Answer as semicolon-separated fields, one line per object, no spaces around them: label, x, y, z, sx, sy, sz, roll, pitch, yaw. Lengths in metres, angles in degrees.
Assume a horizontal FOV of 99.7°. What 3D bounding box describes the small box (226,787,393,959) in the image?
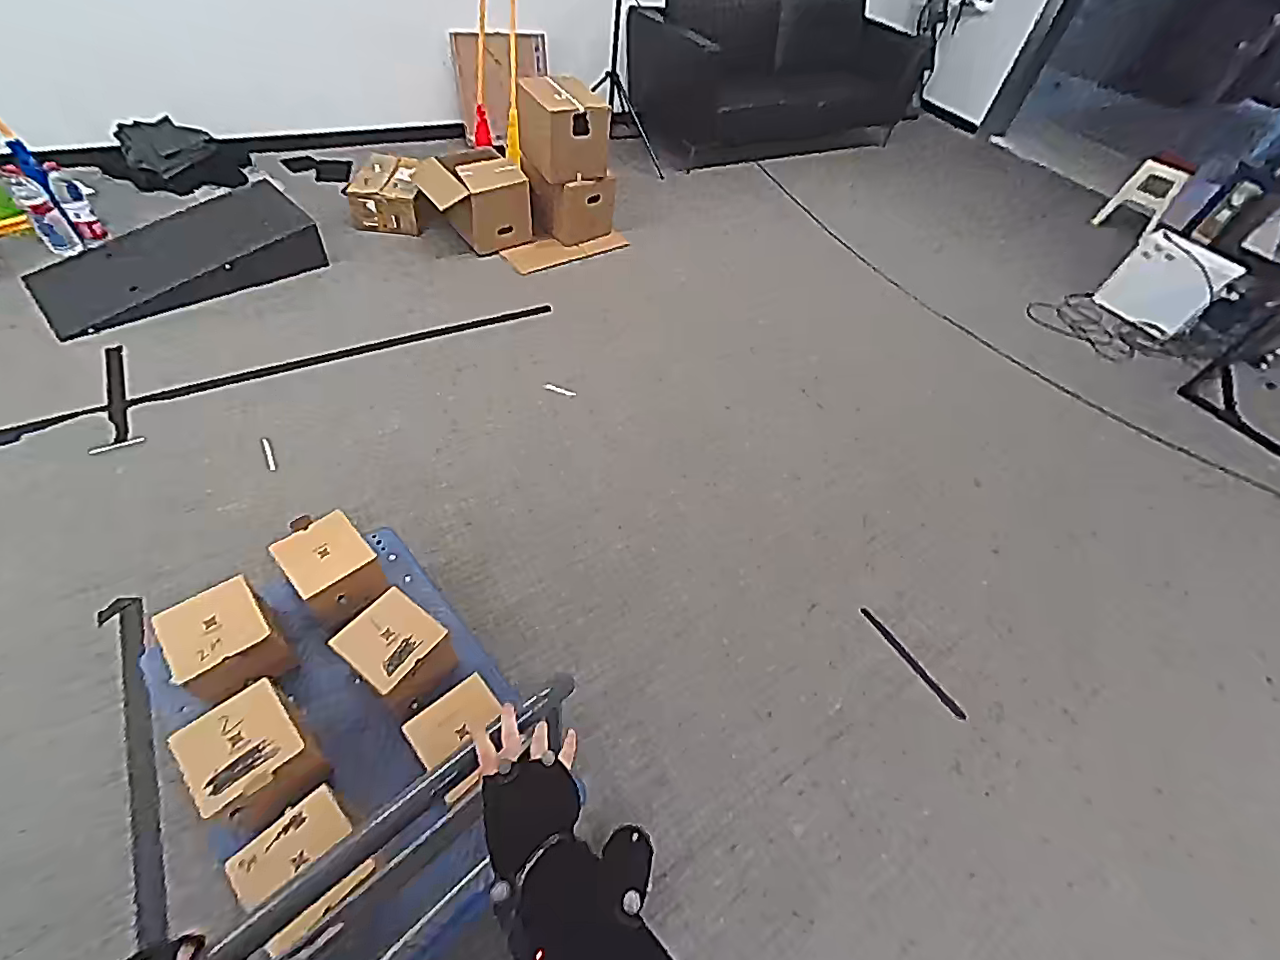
small box;-0.556;0.674;0.933;0.179;0.176;0.168;40;54;20

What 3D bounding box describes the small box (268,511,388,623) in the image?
small box;-0.725;0.214;1.275;0.179;0.176;0.168;40;55;21

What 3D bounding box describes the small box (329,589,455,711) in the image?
small box;-0.528;0.377;1.180;0.179;0.176;0.168;32;53;16

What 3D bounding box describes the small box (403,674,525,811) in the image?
small box;-0.345;0.534;1.090;0.168;0.176;0.179;-32;63;-31

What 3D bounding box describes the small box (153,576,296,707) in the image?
small box;-0.867;0.344;1.141;0.168;0.176;0.179;-31;64;-30
